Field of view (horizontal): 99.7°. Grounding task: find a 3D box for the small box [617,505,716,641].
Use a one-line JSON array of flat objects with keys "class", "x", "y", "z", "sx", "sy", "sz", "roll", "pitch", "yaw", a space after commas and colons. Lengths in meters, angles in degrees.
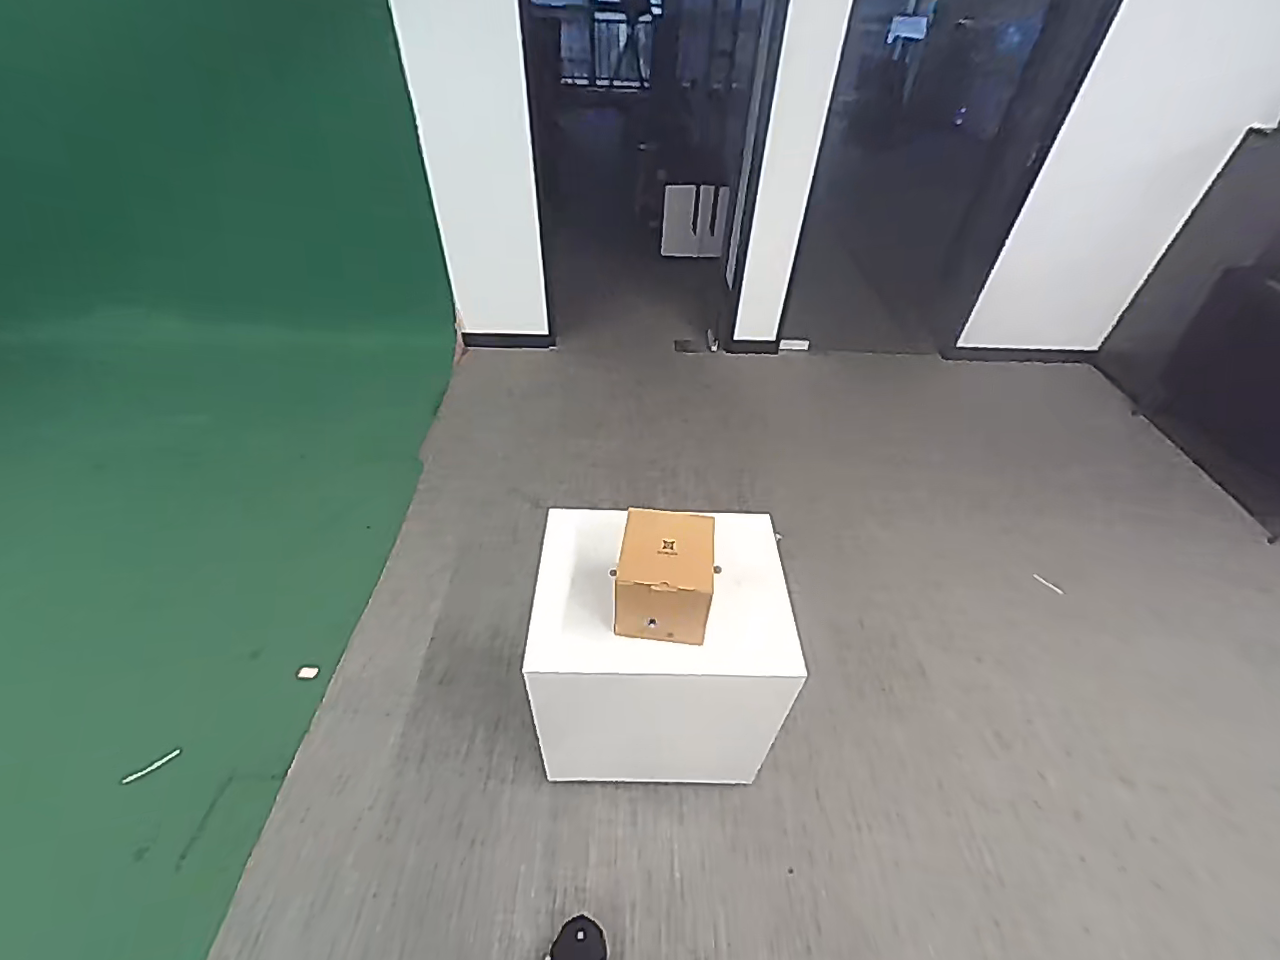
[{"class": "small box", "x": 0.048, "y": 0.172, "z": 1.005, "sx": 0.168, "sy": 0.176, "sz": 0.179, "roll": 5, "pitch": 43, "yaw": 3}]
